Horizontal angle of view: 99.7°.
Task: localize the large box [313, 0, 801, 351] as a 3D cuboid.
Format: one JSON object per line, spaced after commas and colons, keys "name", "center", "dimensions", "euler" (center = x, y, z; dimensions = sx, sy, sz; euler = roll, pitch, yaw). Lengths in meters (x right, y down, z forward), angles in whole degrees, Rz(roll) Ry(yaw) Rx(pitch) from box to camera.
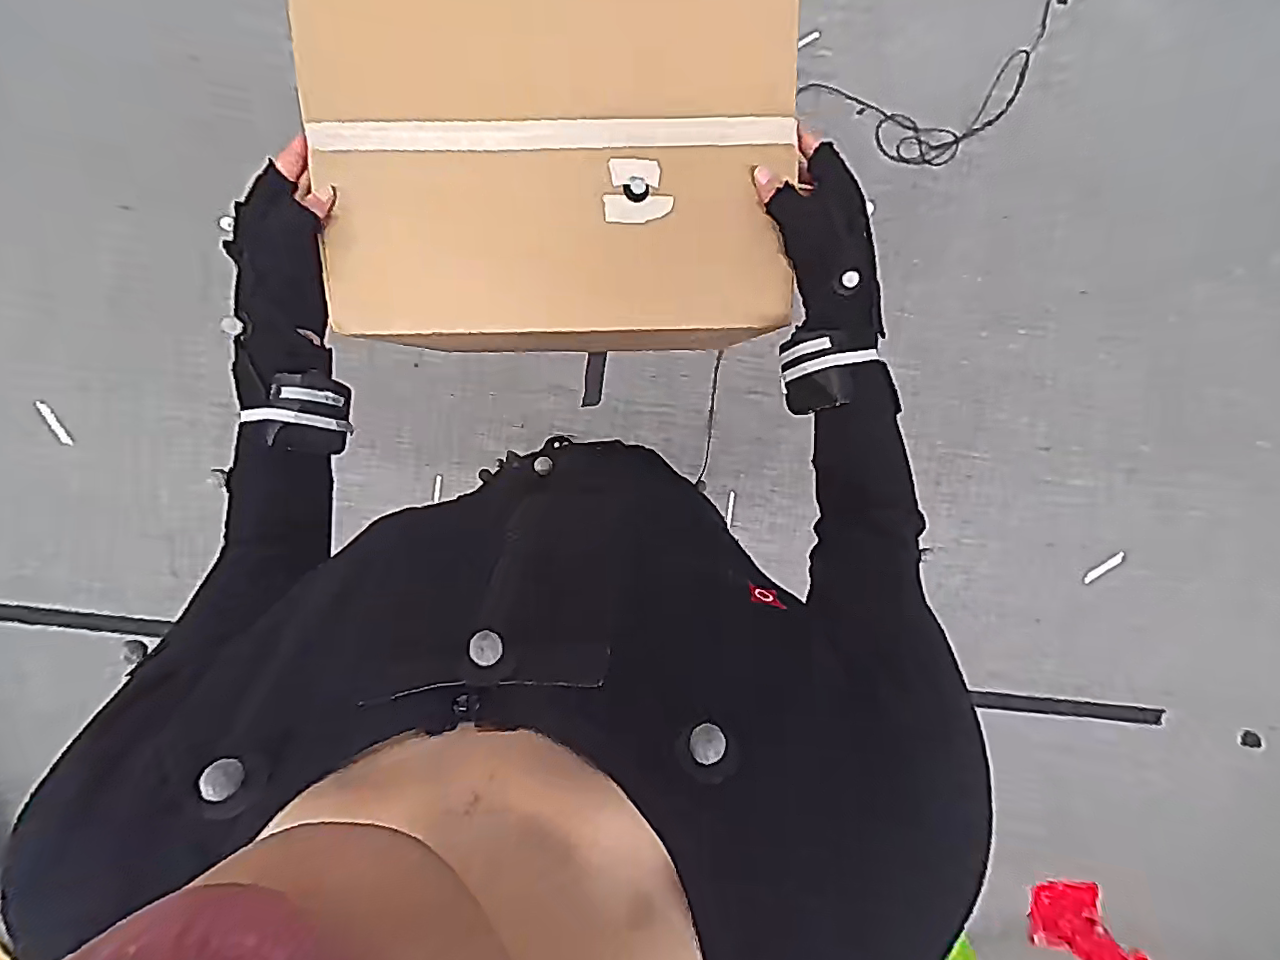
{"name": "large box", "center": [-0.070, -0.316, 0.603], "dimensions": [0.408, 0.320, 0.320], "euler": [-1, 101, -3]}
